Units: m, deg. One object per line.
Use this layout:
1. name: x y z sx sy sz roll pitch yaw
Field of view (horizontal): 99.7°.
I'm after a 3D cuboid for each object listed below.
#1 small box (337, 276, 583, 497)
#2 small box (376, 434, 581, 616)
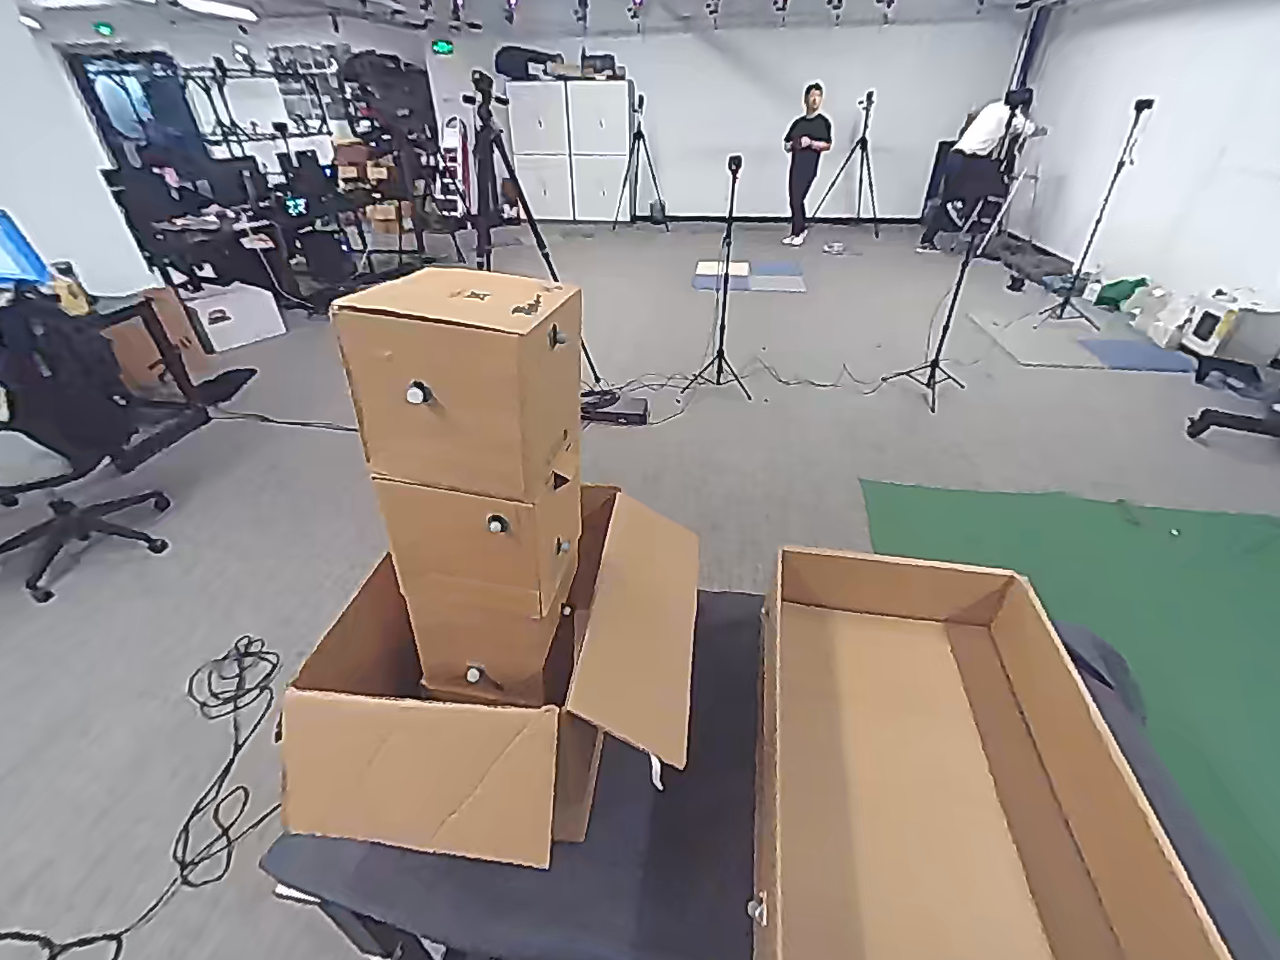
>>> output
1. small box: -0.164 -0.100 0.555 0.179 0.176 0.168 9 34 7
2. small box: -0.175 0.039 0.643 0.179 0.176 0.168 9 34 6
